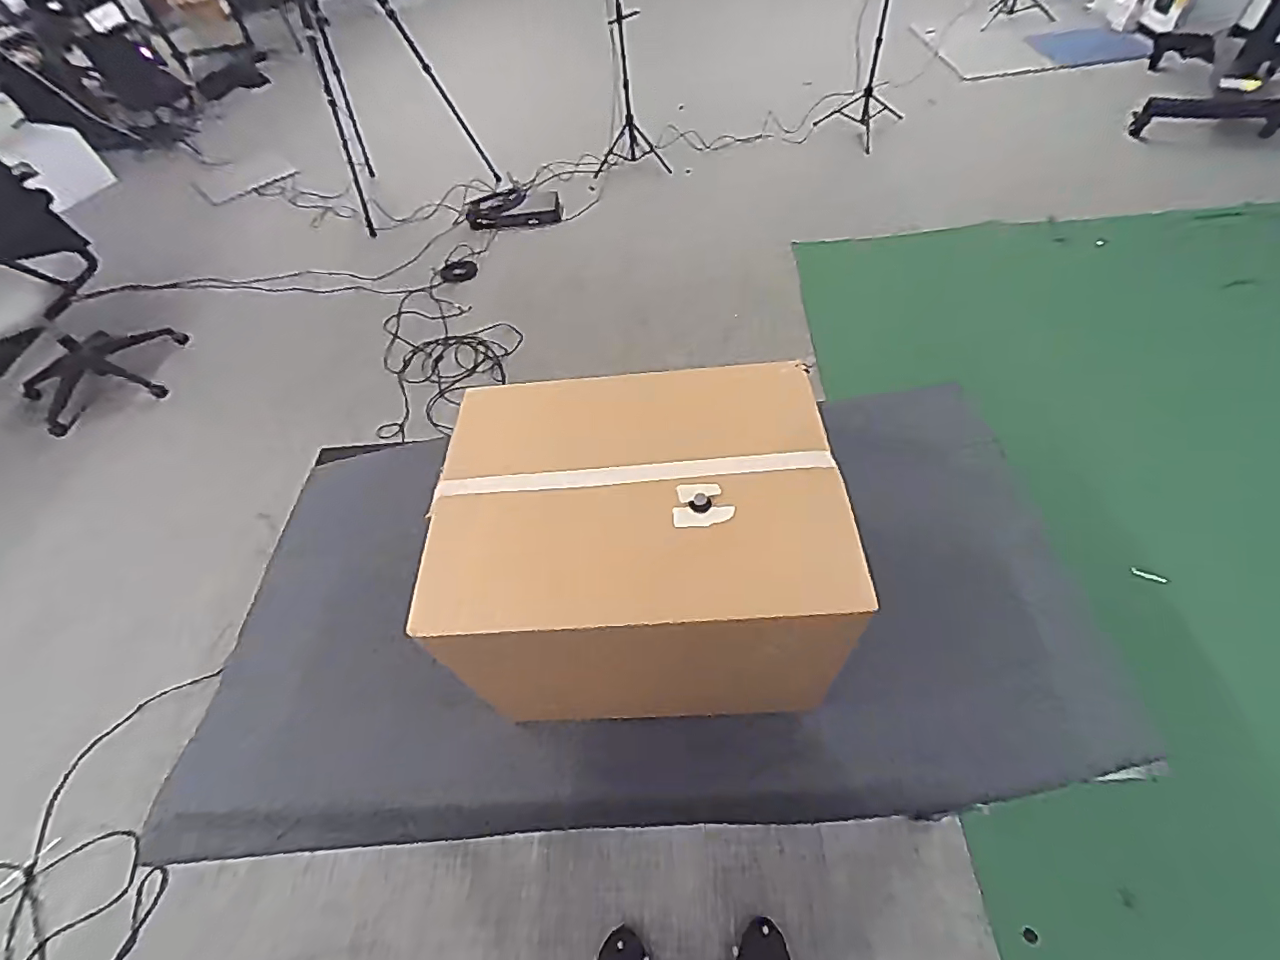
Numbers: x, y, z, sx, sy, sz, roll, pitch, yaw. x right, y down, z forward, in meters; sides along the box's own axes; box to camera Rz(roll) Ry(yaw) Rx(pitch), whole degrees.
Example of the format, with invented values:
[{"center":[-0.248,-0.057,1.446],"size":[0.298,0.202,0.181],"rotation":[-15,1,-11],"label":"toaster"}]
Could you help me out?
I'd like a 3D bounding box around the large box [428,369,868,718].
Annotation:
[{"center":[0.011,0.093,0.685],"size":[0.408,0.320,0.320],"rotation":[-4,54,4],"label":"large box"}]
